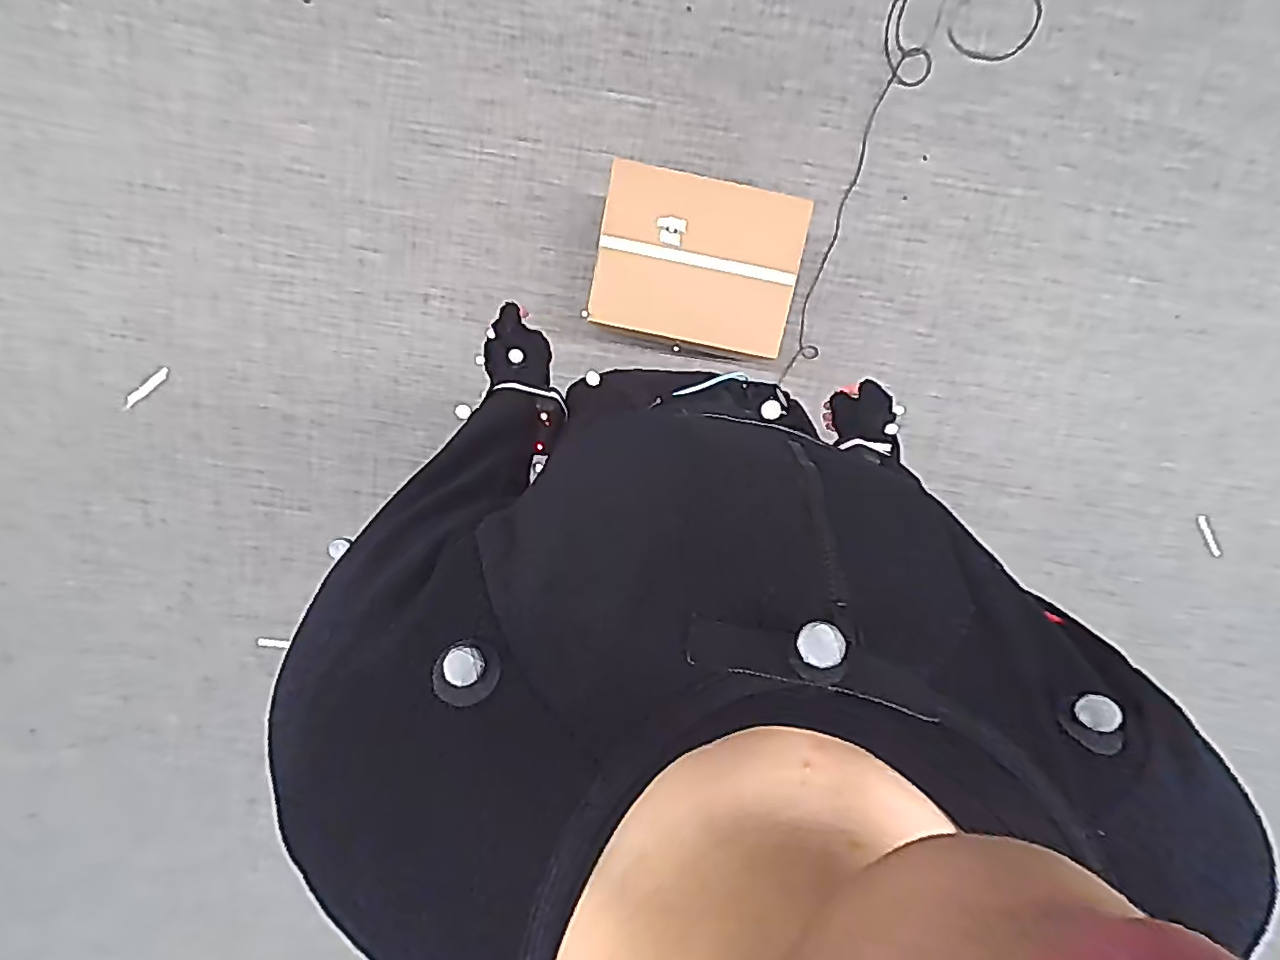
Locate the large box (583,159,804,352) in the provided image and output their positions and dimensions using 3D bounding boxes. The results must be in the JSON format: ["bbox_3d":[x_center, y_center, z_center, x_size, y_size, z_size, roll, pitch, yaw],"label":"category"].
[{"bbox_3d":[0.107,-0.480,1.238,0.408,0.320,0.320,11,101,-2],"label":"large box"}]
